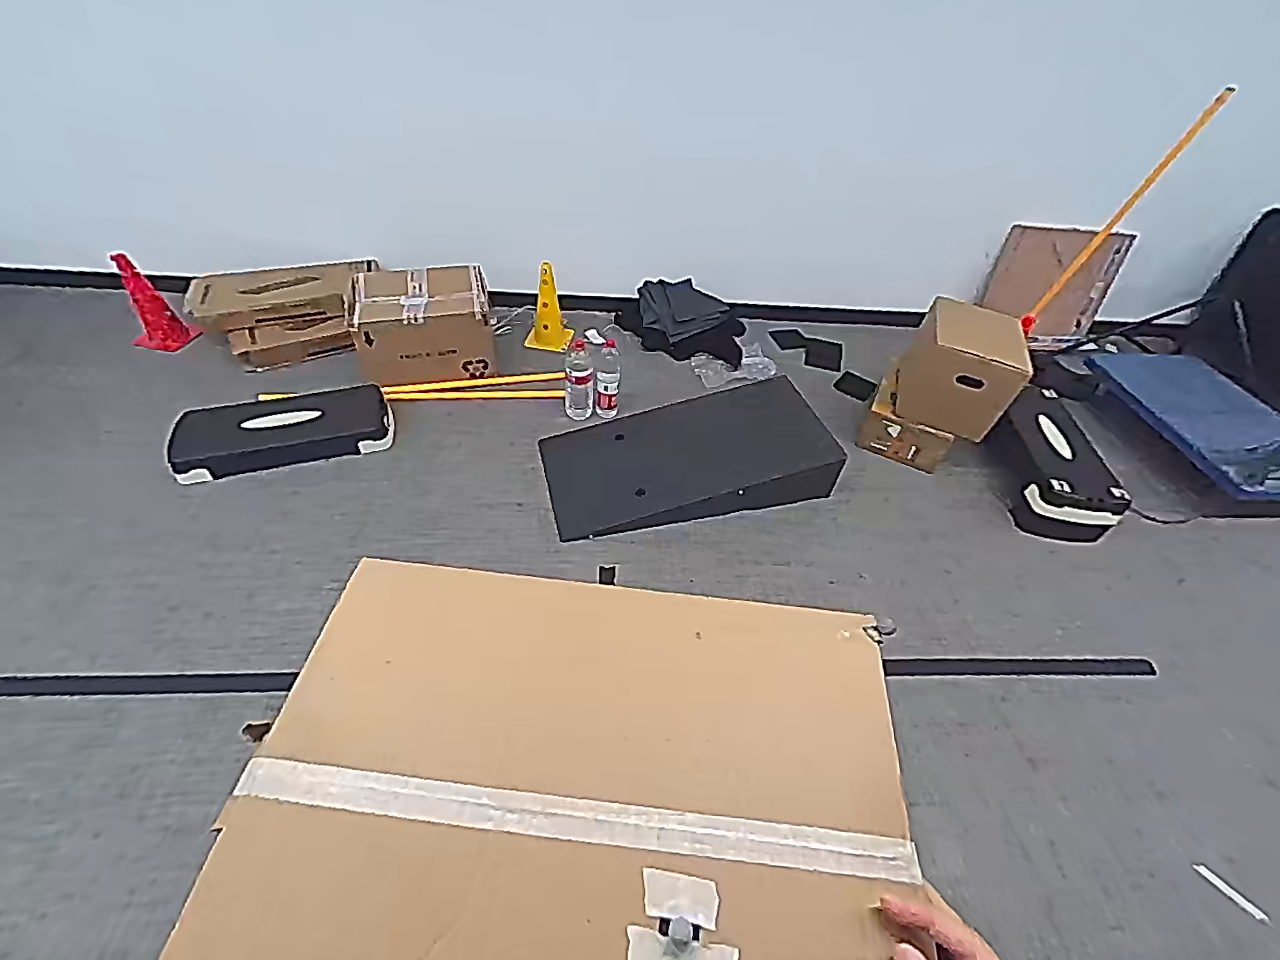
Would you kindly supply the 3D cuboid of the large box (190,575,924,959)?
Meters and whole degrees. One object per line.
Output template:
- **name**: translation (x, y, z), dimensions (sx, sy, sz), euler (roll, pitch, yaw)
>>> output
- **large box**: translation (-0.041, 0.305, 0.449), dimensions (0.408, 0.320, 0.320), euler (6, 52, 2)
